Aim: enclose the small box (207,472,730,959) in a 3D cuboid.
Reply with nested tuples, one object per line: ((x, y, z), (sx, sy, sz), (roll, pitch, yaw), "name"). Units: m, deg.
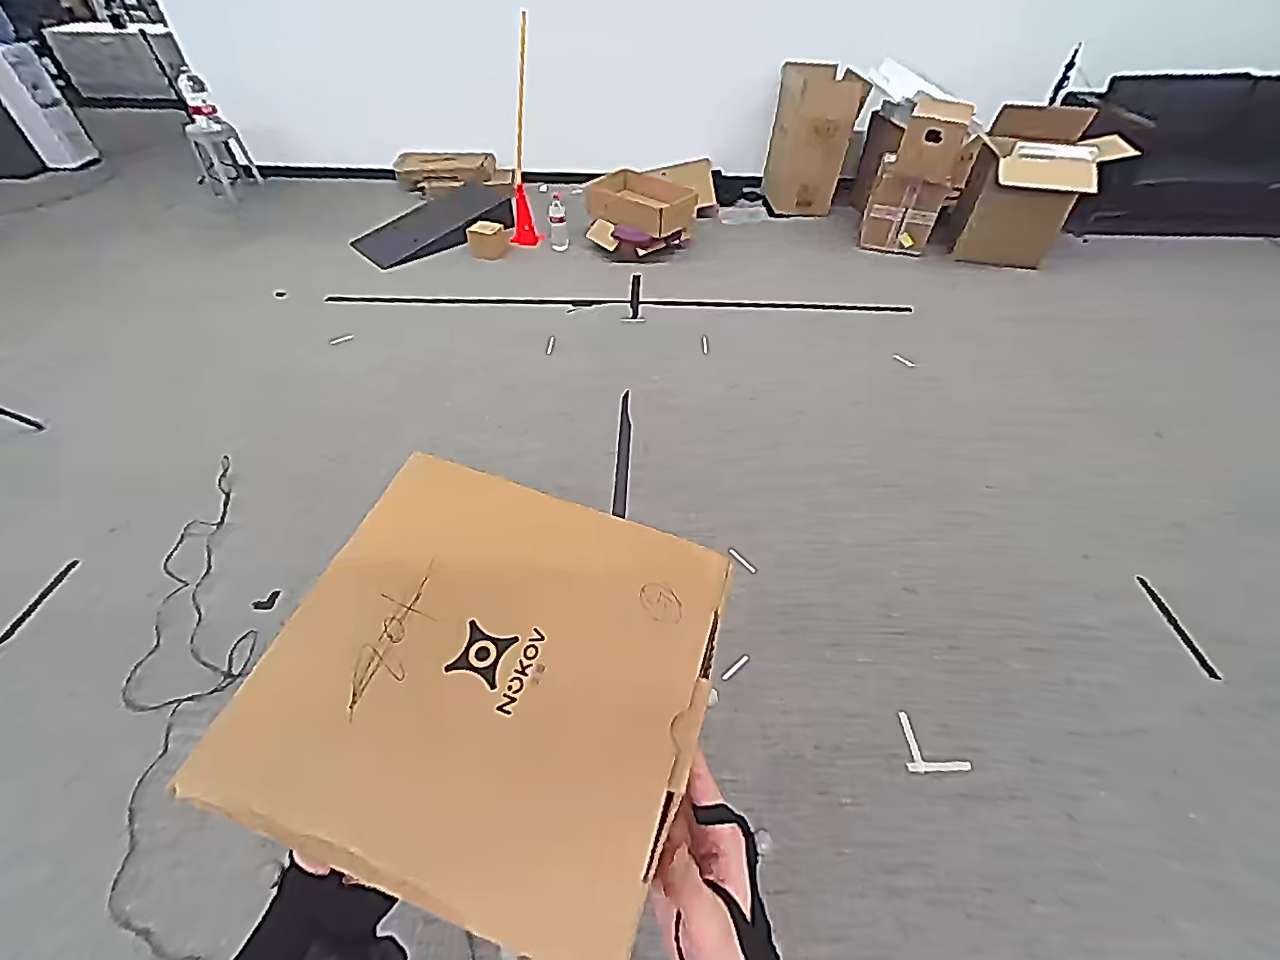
((-0.066, 0.127, 0.306), (0.179, 0.176, 0.168), (17, 55, 7), "small box")
